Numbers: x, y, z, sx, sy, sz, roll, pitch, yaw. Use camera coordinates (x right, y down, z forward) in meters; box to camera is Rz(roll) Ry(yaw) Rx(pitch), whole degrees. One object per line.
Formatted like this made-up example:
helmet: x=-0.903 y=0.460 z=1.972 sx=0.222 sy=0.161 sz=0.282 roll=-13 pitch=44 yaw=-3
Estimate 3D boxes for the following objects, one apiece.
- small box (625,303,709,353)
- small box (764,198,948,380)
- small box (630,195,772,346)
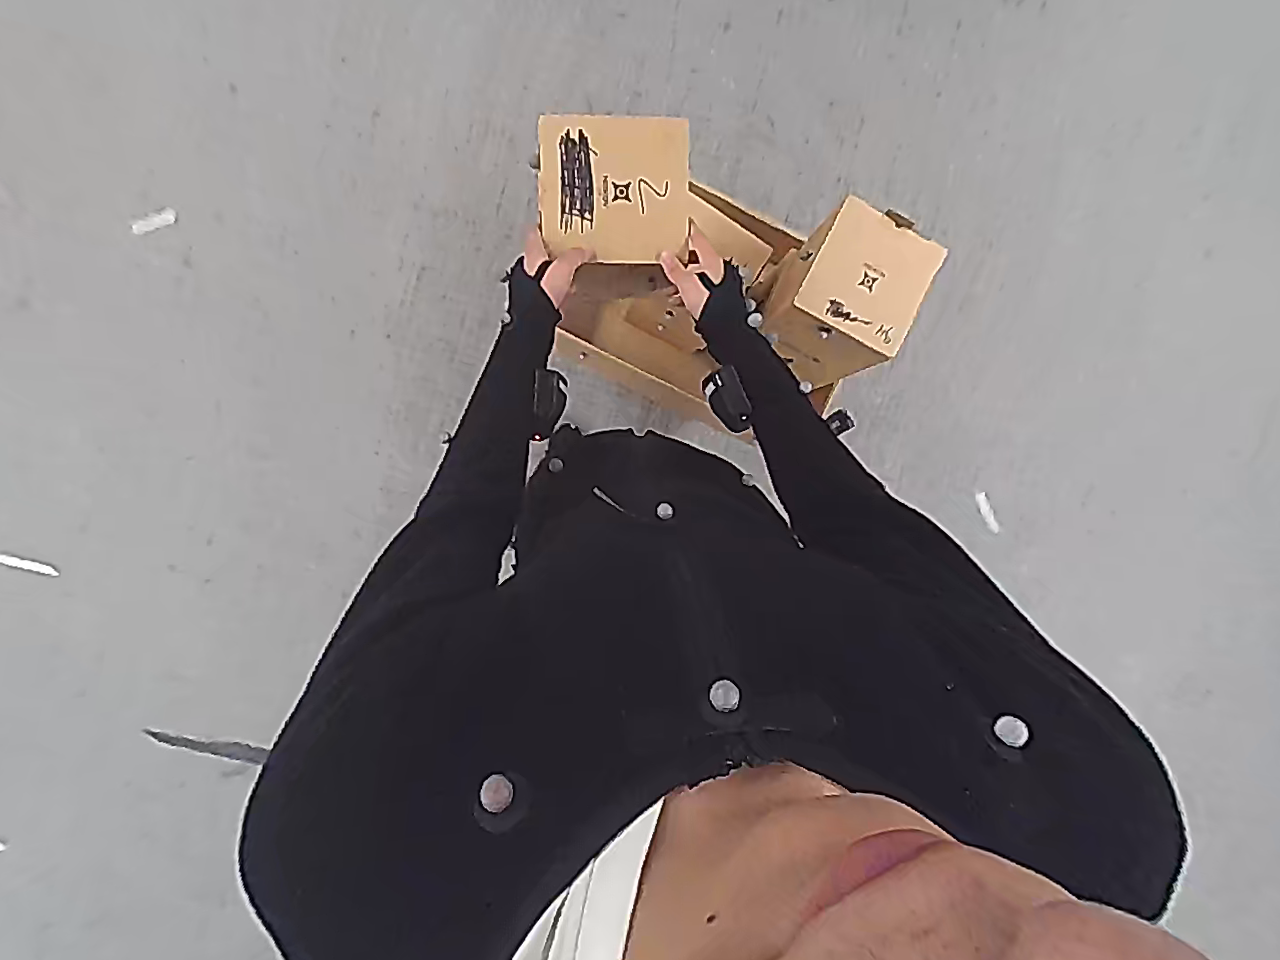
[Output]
small box: x=0.084 y=-0.380 z=1.128 sx=0.179 sy=0.176 sz=0.168 roll=26 pitch=90 yaw=-7
small box: x=0.311 y=-0.275 z=0.819 sx=0.168 sy=0.176 sz=0.179 roll=28 pitch=89 yaw=-4
small box: x=0.099 y=-0.357 z=0.966 sx=0.179 sy=0.176 sz=0.168 roll=32 pitch=89 yaw=-7
